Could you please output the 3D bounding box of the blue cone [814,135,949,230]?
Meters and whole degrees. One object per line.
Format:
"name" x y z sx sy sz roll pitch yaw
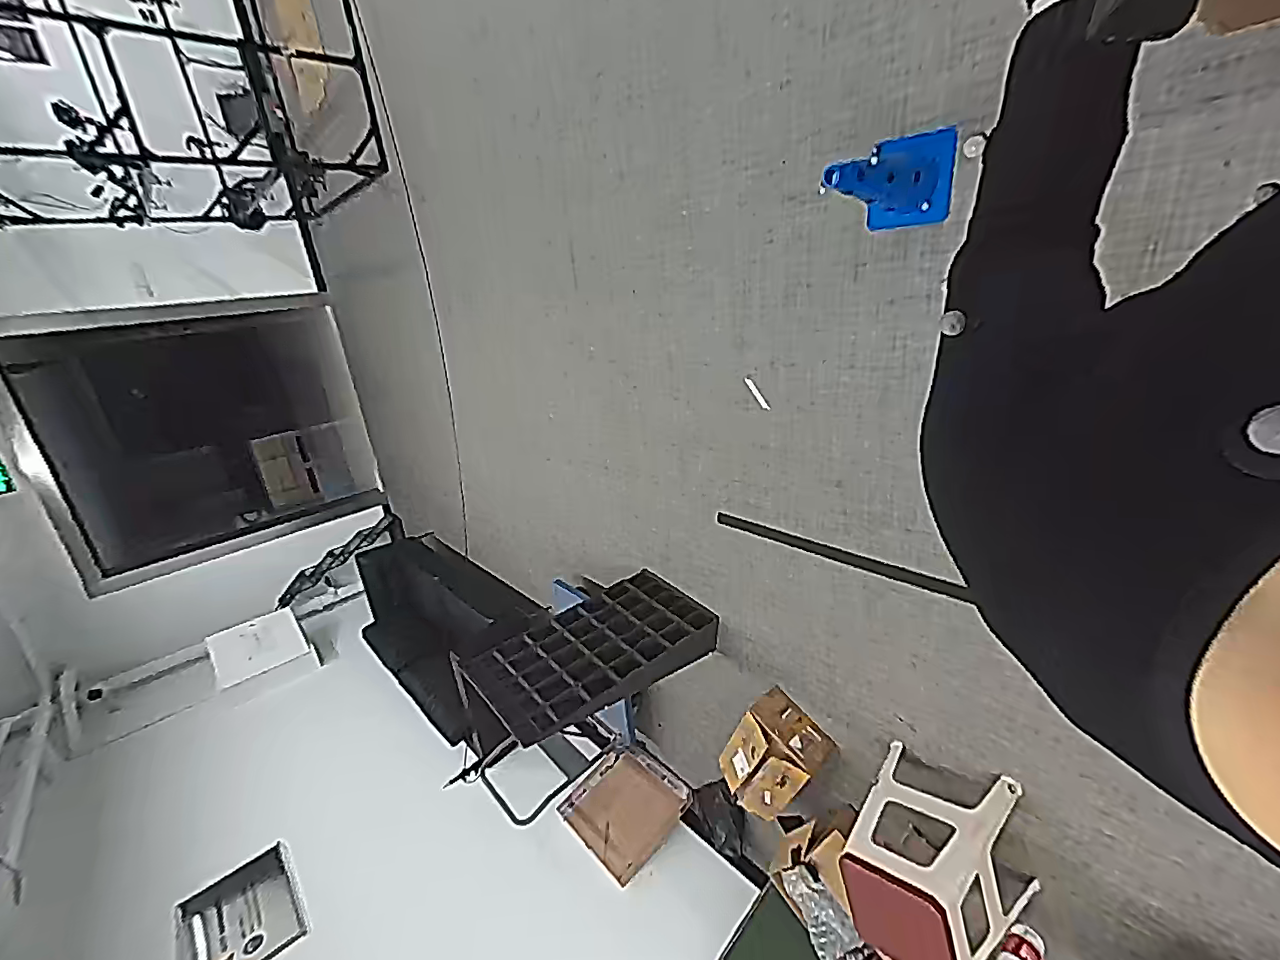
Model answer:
"blue cone" 0.524 -0.675 1.224 0.192 0.380 0.193 21 123 46
